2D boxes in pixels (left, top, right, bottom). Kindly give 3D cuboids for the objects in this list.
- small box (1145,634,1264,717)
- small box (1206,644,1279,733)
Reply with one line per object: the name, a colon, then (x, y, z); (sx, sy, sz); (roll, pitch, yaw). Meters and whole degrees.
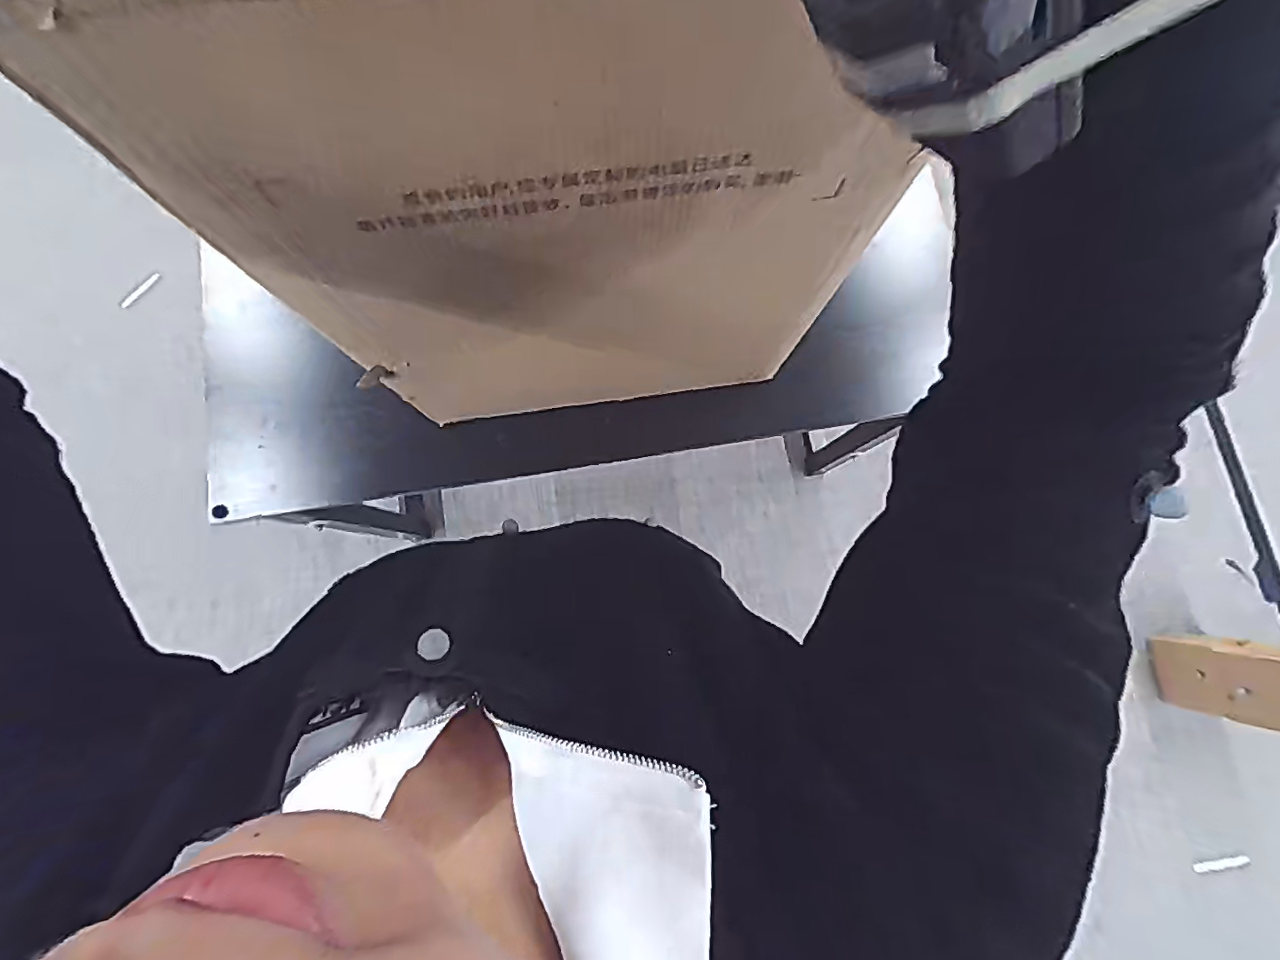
small box: (1.495, 0.506, 1.426); (0.168, 0.176, 0.179); (-5, 81, -2)
small box: (1.506, 0.484, 1.263); (0.179, 0.176, 0.168); (-5, 80, -2)
